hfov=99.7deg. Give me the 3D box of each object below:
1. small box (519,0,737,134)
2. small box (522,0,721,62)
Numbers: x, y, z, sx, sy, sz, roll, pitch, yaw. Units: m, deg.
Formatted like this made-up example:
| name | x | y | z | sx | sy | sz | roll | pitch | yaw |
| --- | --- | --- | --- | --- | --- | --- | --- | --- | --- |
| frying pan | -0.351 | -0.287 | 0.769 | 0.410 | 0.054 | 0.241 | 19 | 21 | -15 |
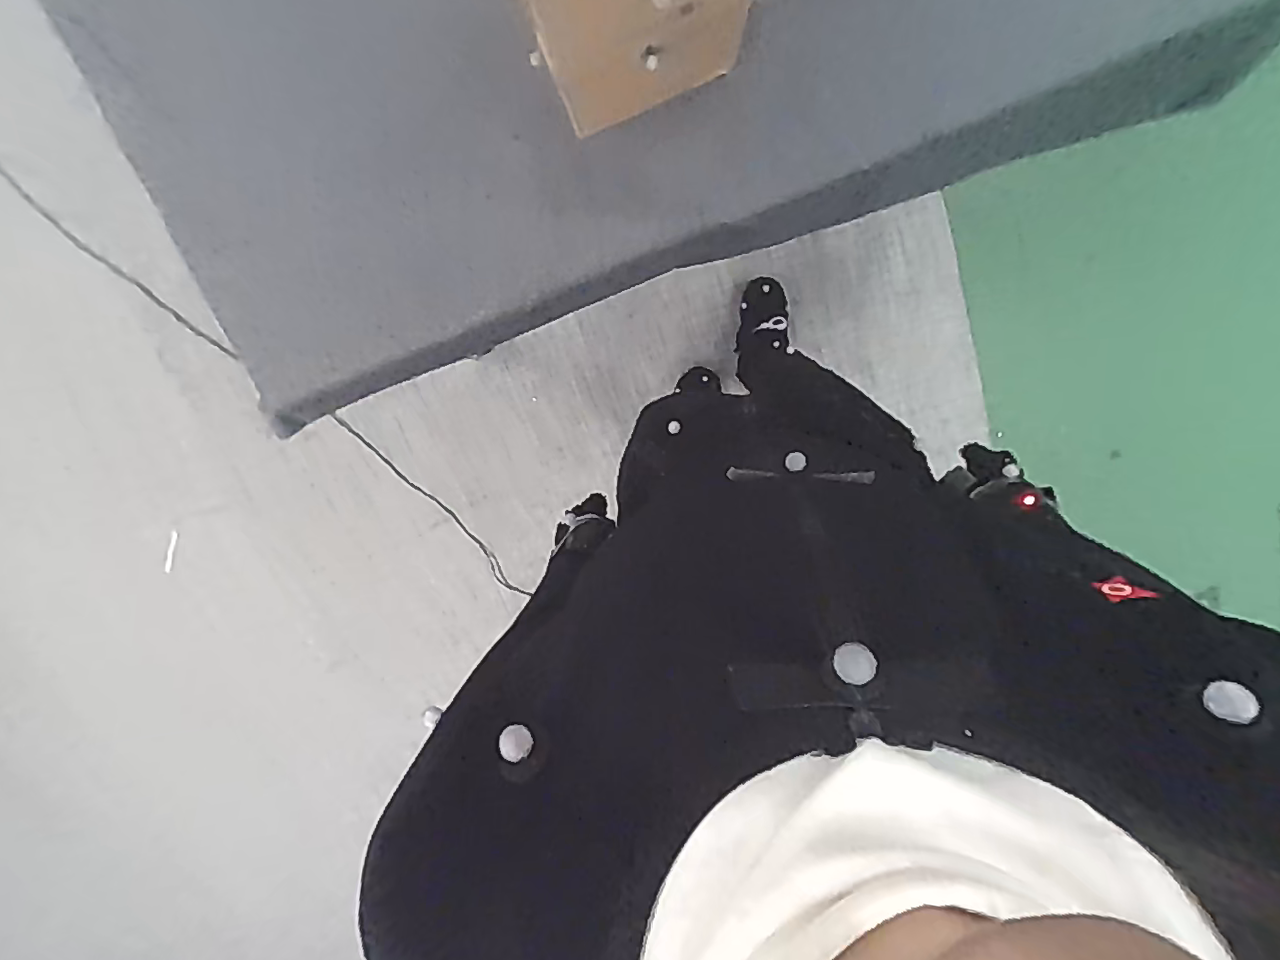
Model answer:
| name | x | y | z | sx | sy | sz | roll | pitch | yaw |
| --- | --- | --- | --- | --- | --- | --- | --- | --- | --- |
| small box | -0.019 | -0.445 | 0.477 | 0.179 | 0.176 | 0.168 | -21 | 105 | 7 |
| small box | -0.023 | -0.395 | 0.321 | 0.168 | 0.176 | 0.179 | -21 | 105 | 8 |
